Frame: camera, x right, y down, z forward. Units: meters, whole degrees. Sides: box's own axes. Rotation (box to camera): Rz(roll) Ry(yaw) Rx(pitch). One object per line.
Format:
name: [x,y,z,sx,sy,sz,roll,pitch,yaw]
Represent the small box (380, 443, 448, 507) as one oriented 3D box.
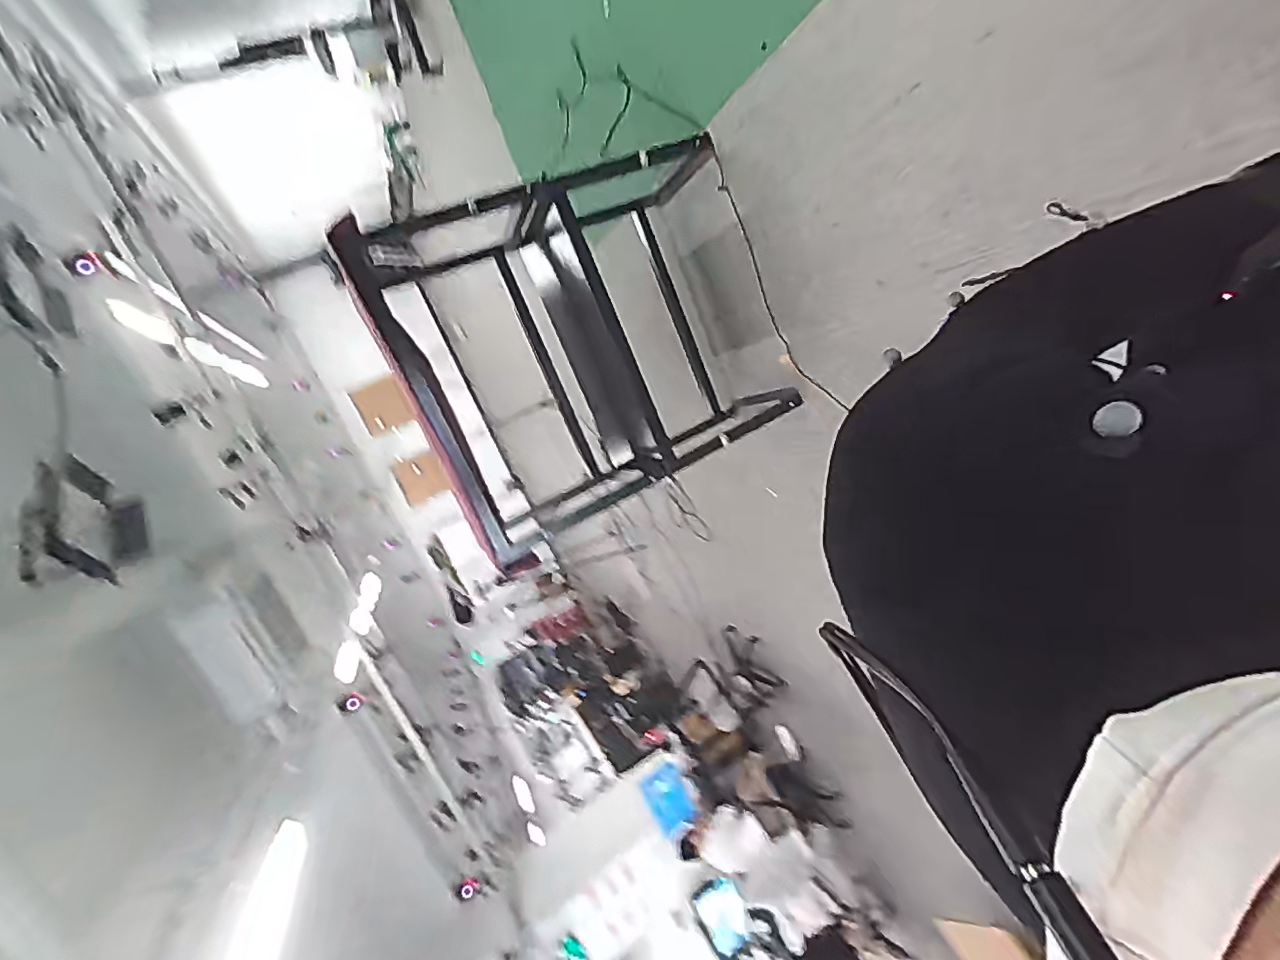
small box: [-0.794,-0.023,1.906,0.179,0.176,0.168,13,126,67]
